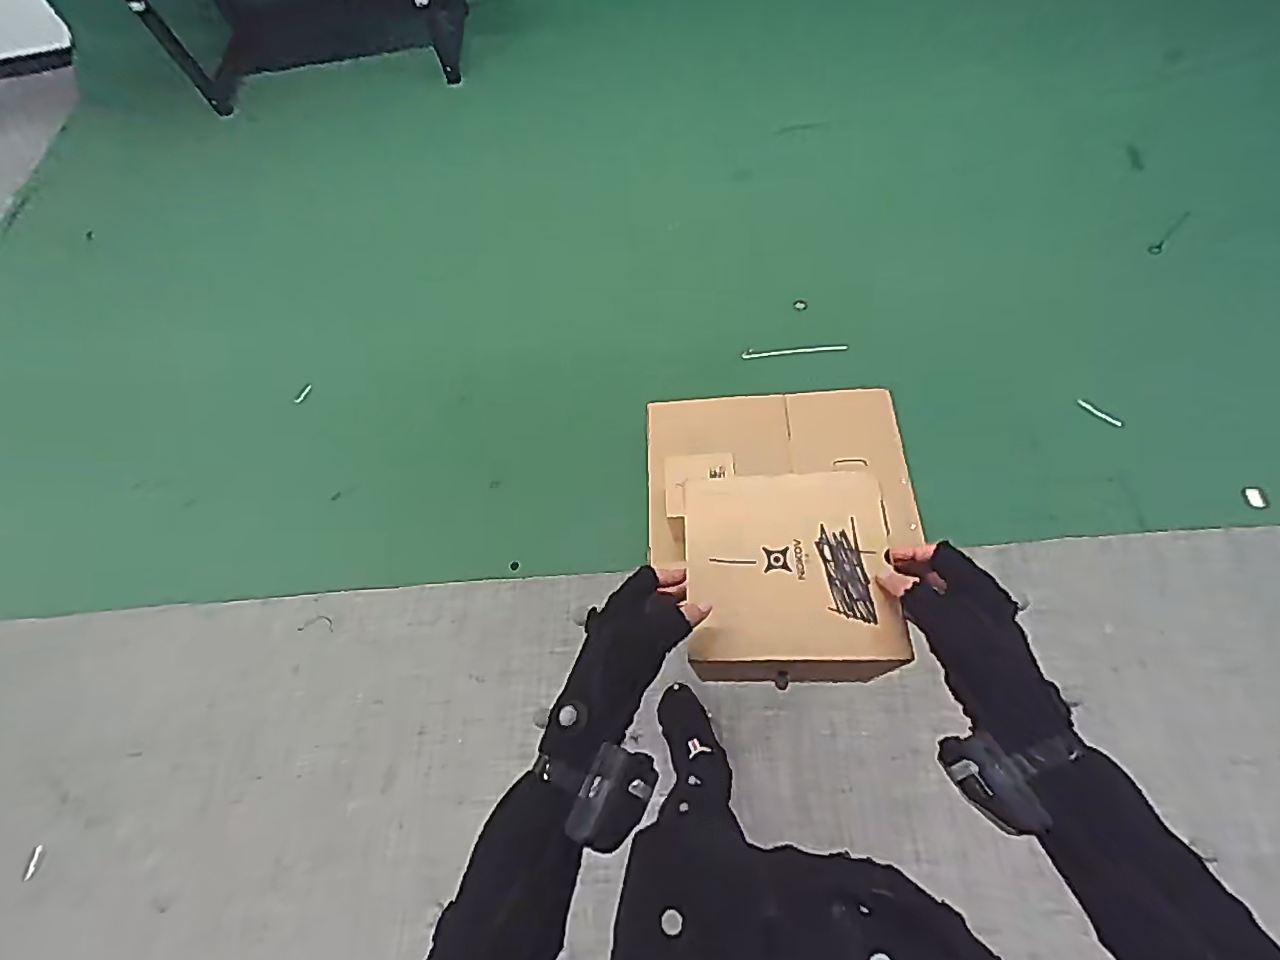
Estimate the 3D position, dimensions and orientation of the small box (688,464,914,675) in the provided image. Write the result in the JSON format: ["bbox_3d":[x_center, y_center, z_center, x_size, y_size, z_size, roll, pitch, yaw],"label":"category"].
[{"bbox_3d":[0.140,0.096,0.531,0.179,0.176,0.168,-3,64,9],"label":"small box"}]
